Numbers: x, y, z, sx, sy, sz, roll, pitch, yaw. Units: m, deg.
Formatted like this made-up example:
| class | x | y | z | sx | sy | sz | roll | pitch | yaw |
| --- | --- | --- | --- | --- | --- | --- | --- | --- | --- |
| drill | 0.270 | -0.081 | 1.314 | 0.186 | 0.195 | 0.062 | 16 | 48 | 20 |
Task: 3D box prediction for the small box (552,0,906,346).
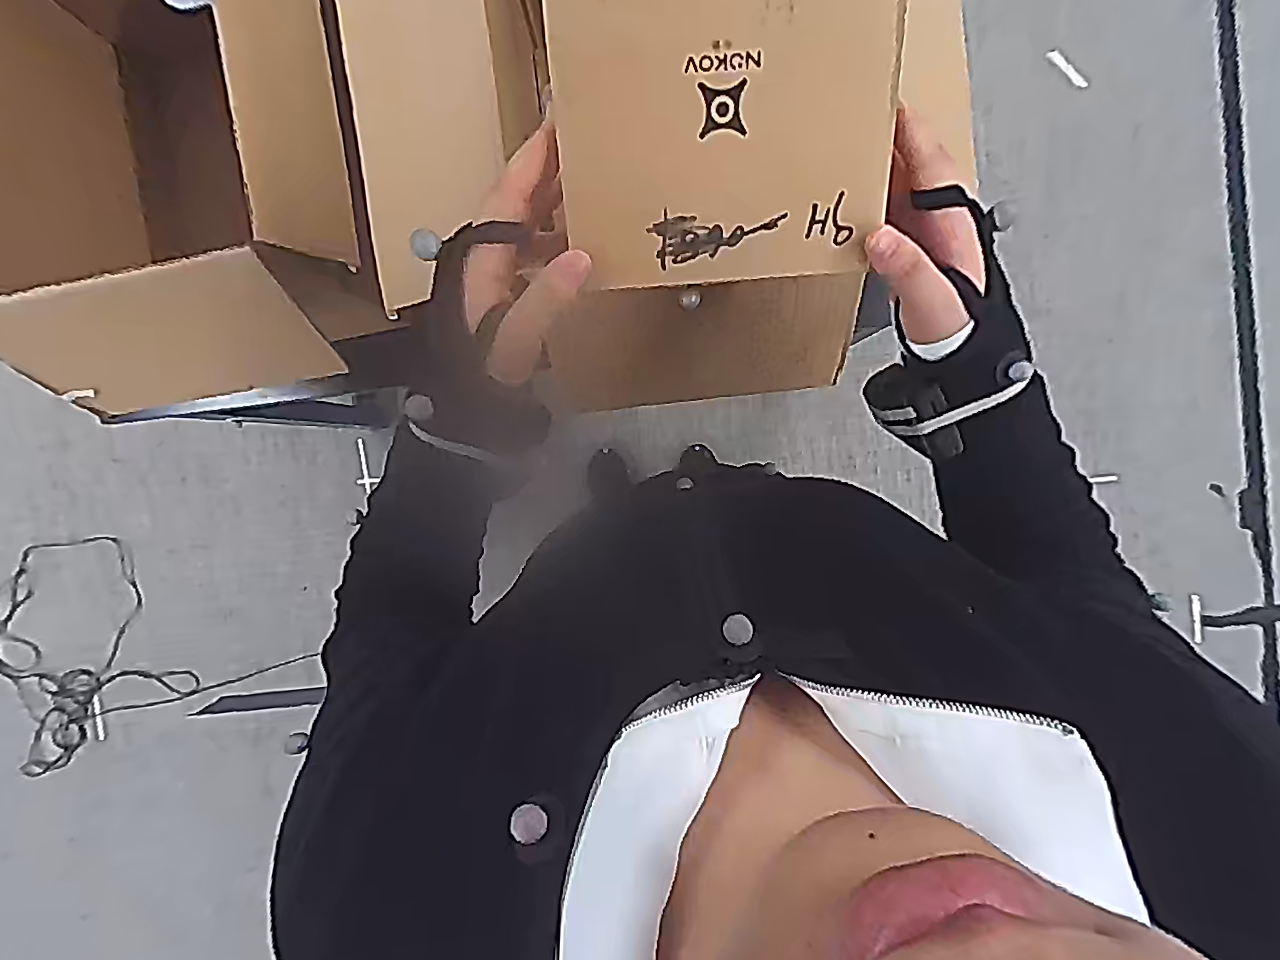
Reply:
| class | x | y | z | sx | sy | sz | roll | pitch | yaw |
| --- | --- | --- | --- | --- | --- | --- | --- | --- | --- |
| small box | 0.041 | -0.189 | 0.344 | 0.168 | 0.176 | 0.179 | -4 | 113 | 1 |
